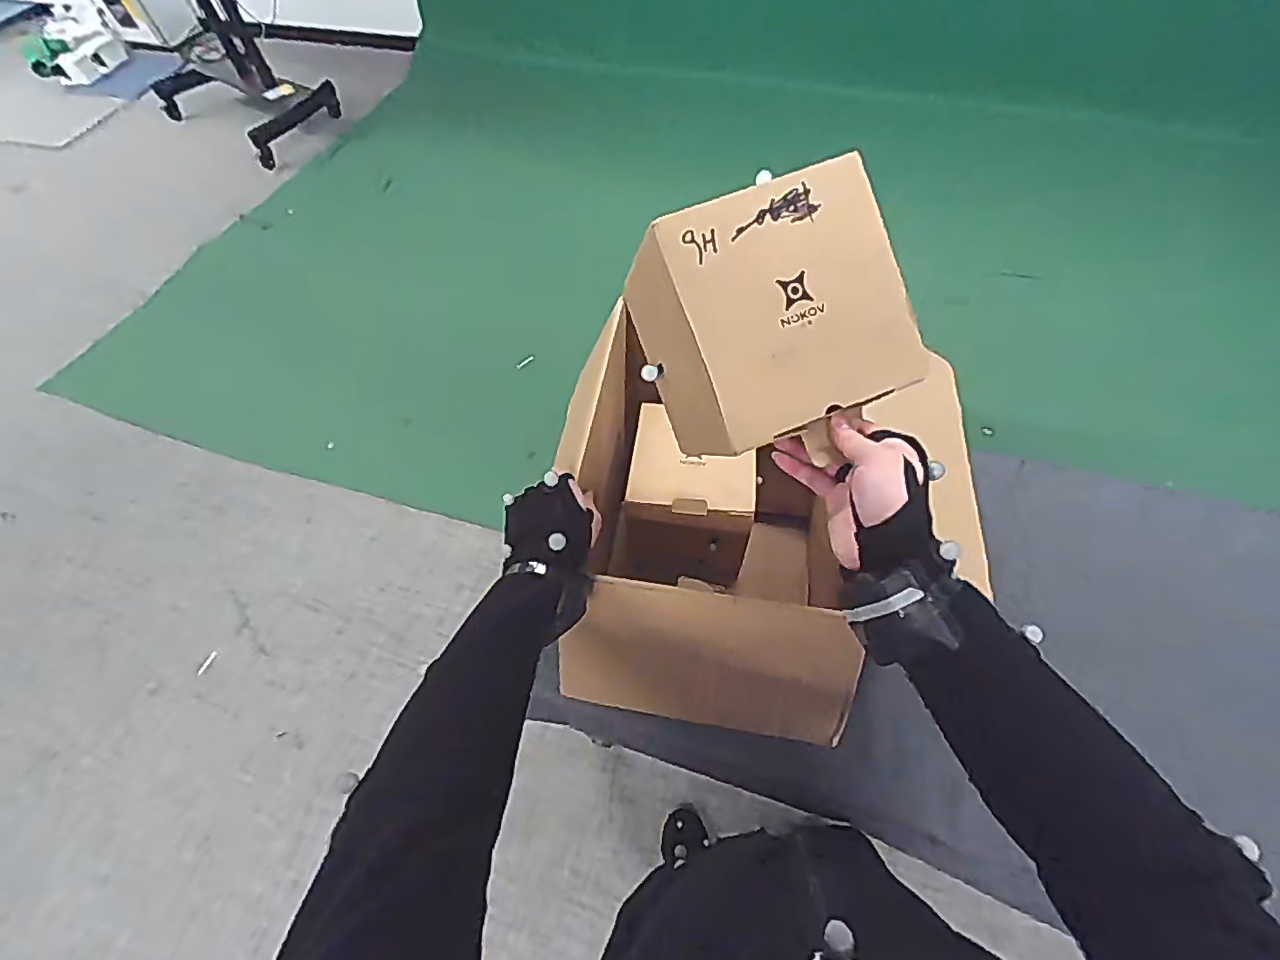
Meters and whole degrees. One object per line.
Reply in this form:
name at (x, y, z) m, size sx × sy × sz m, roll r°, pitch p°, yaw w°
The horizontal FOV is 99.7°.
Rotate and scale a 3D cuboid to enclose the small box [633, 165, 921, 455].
small box at (0.104, -0.131, 0.480) m, size 0.168 × 0.176 × 0.179 m, roll -21°, pitch 95°, yaw -7°
